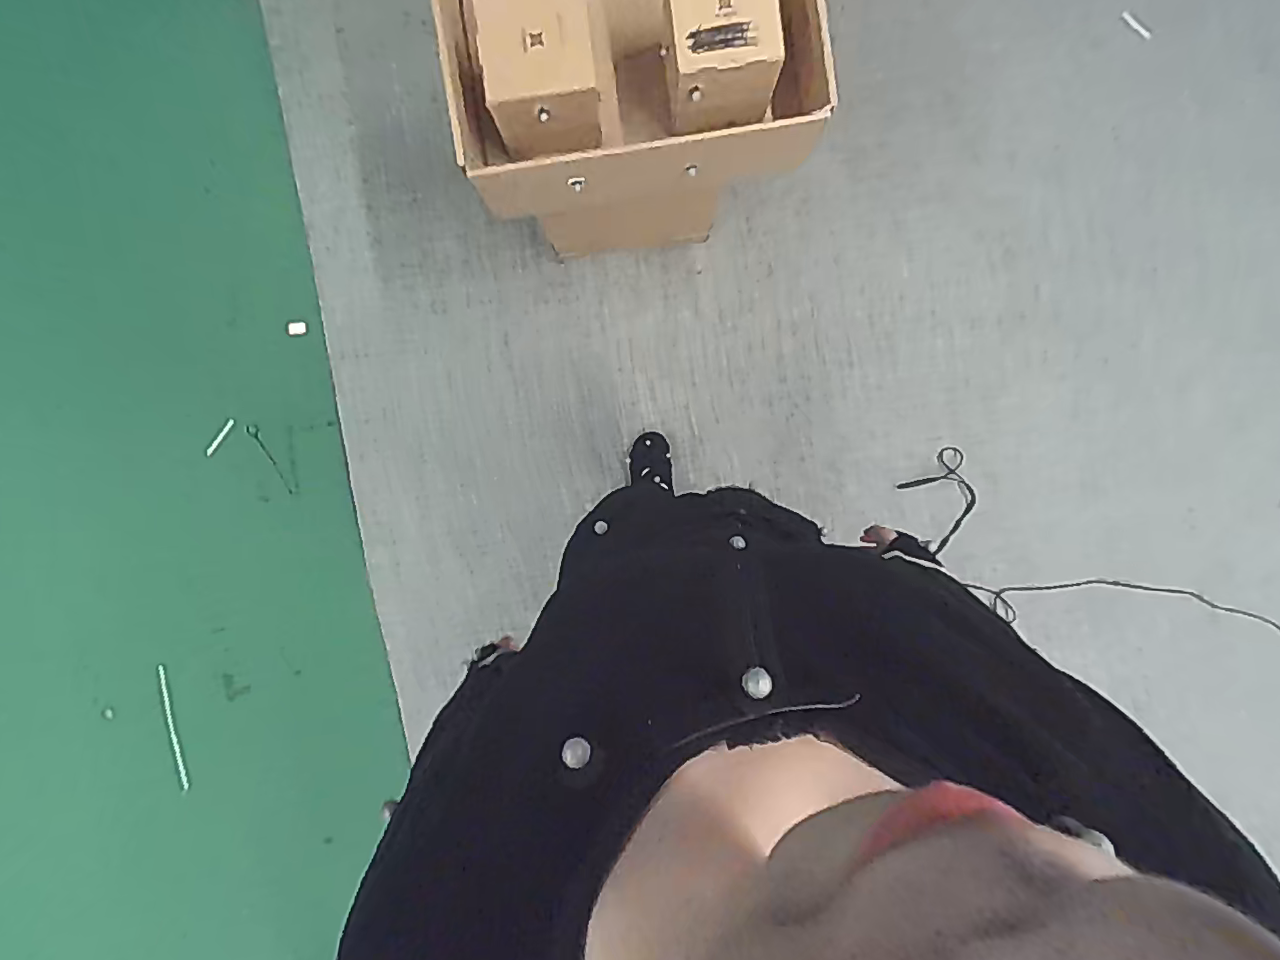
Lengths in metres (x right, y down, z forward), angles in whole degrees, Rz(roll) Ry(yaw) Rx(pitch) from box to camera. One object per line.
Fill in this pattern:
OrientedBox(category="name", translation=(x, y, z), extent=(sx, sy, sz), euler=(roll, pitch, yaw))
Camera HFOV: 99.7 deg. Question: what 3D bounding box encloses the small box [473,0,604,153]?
OrientedBox(category="small box", translation=(-0.162, -0.680, 0.909), extent=(0.179, 0.176, 0.168), euler=(-7, 93, 1))
